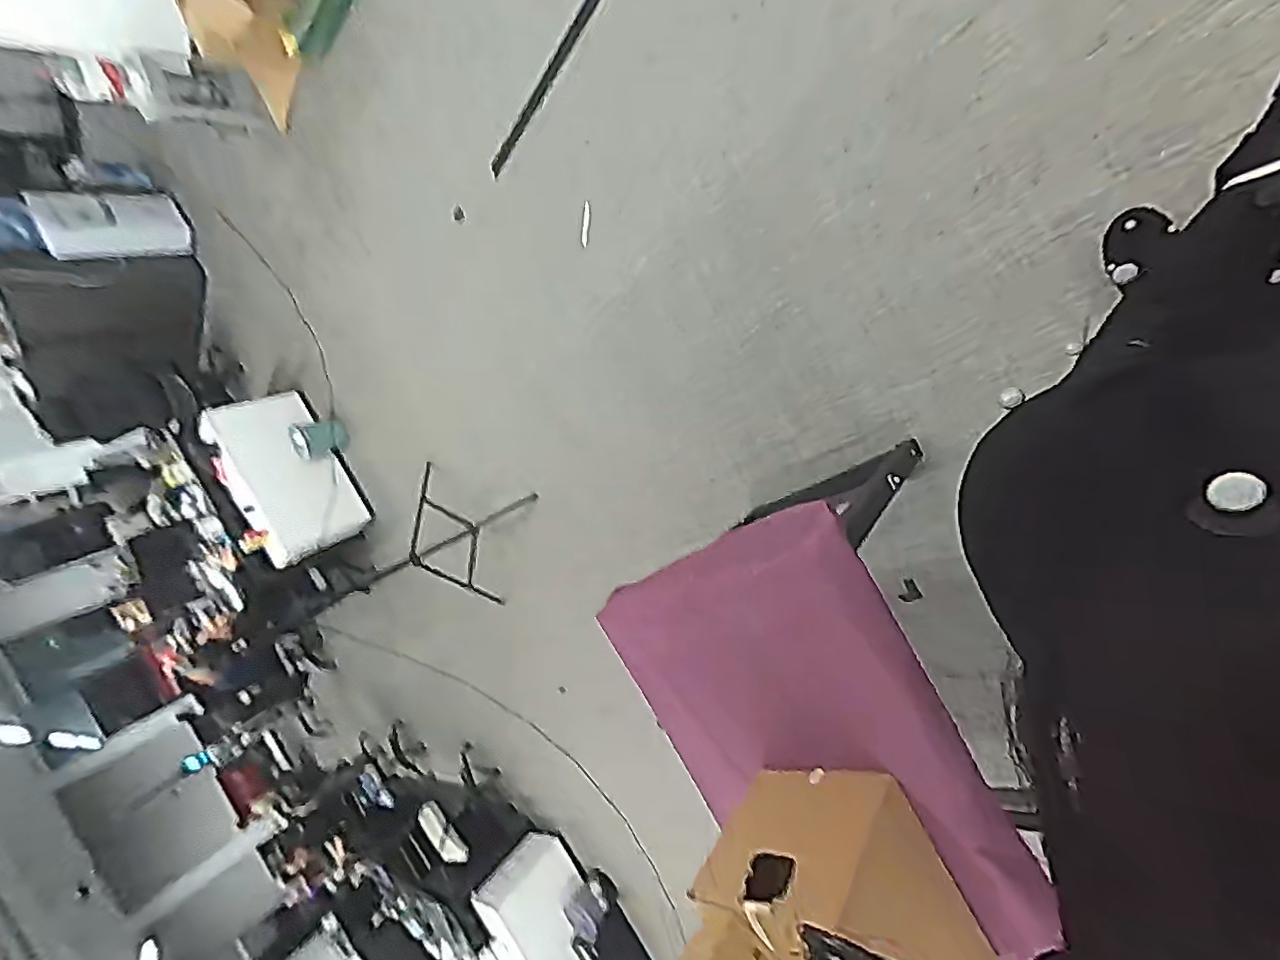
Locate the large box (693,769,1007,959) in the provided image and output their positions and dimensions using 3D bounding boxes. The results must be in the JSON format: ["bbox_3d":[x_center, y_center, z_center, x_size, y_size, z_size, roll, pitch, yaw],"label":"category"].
[{"bbox_3d":[0.378,0.799,0.967,0.320,0.320,0.408,-32,88,44],"label":"large box"}]
